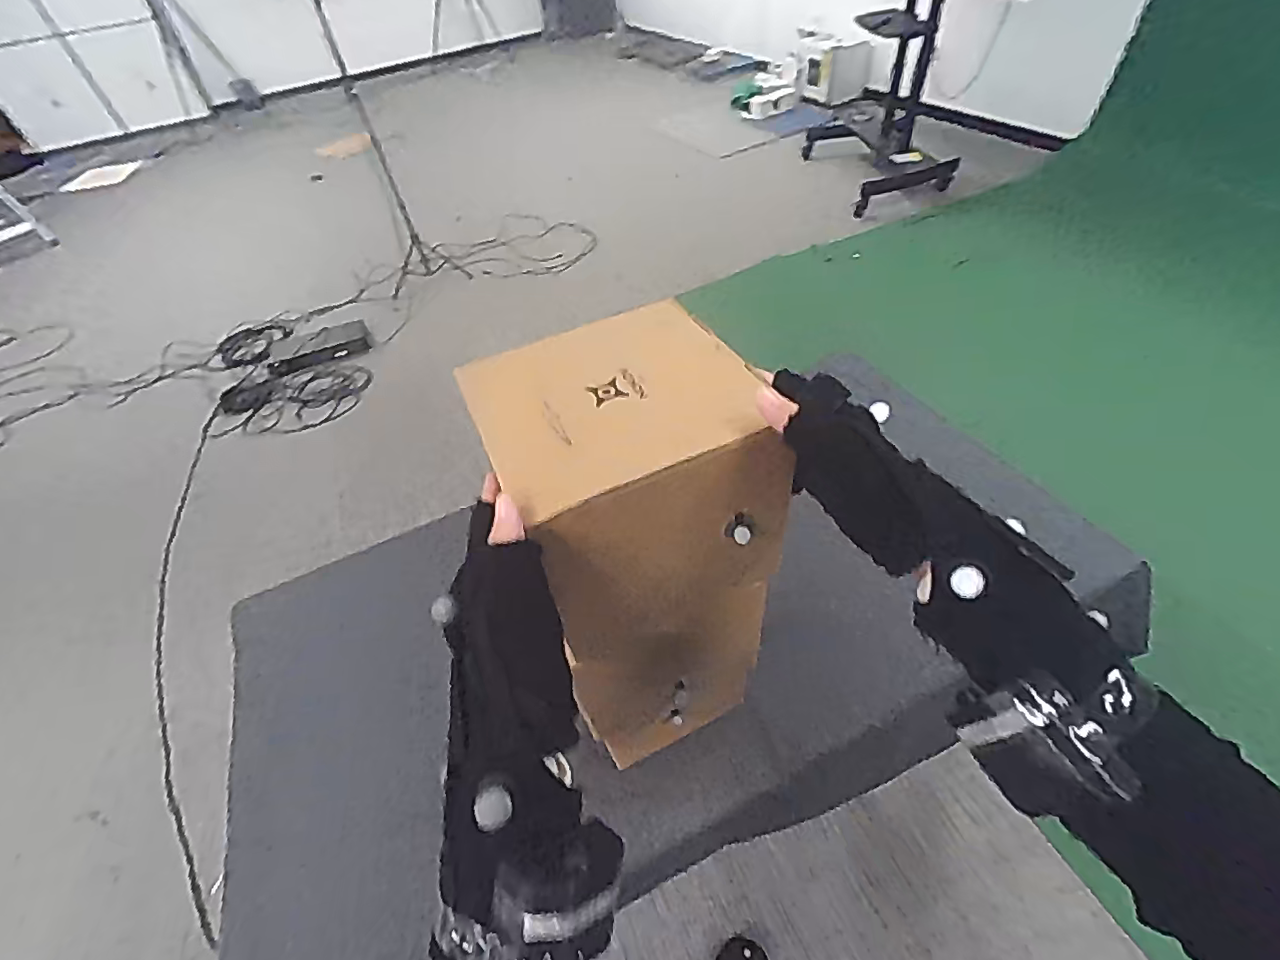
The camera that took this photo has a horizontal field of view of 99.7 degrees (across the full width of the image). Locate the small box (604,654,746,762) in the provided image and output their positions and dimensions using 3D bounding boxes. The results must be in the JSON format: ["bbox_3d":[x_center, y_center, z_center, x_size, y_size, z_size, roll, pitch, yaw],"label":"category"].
[{"bbox_3d":[0.011,0.209,0.661,0.179,0.176,0.168,-24,49,-11],"label":"small box"}]

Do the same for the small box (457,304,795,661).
[{"bbox_3d":[-0.010,0.001,0.407,0.179,0.176,0.168,-24,48,-13],"label":"small box"}]

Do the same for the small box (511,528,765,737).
[{"bbox_3d":[-0.002,0.117,0.529,0.179,0.176,0.168,-24,51,-12],"label":"small box"}]
